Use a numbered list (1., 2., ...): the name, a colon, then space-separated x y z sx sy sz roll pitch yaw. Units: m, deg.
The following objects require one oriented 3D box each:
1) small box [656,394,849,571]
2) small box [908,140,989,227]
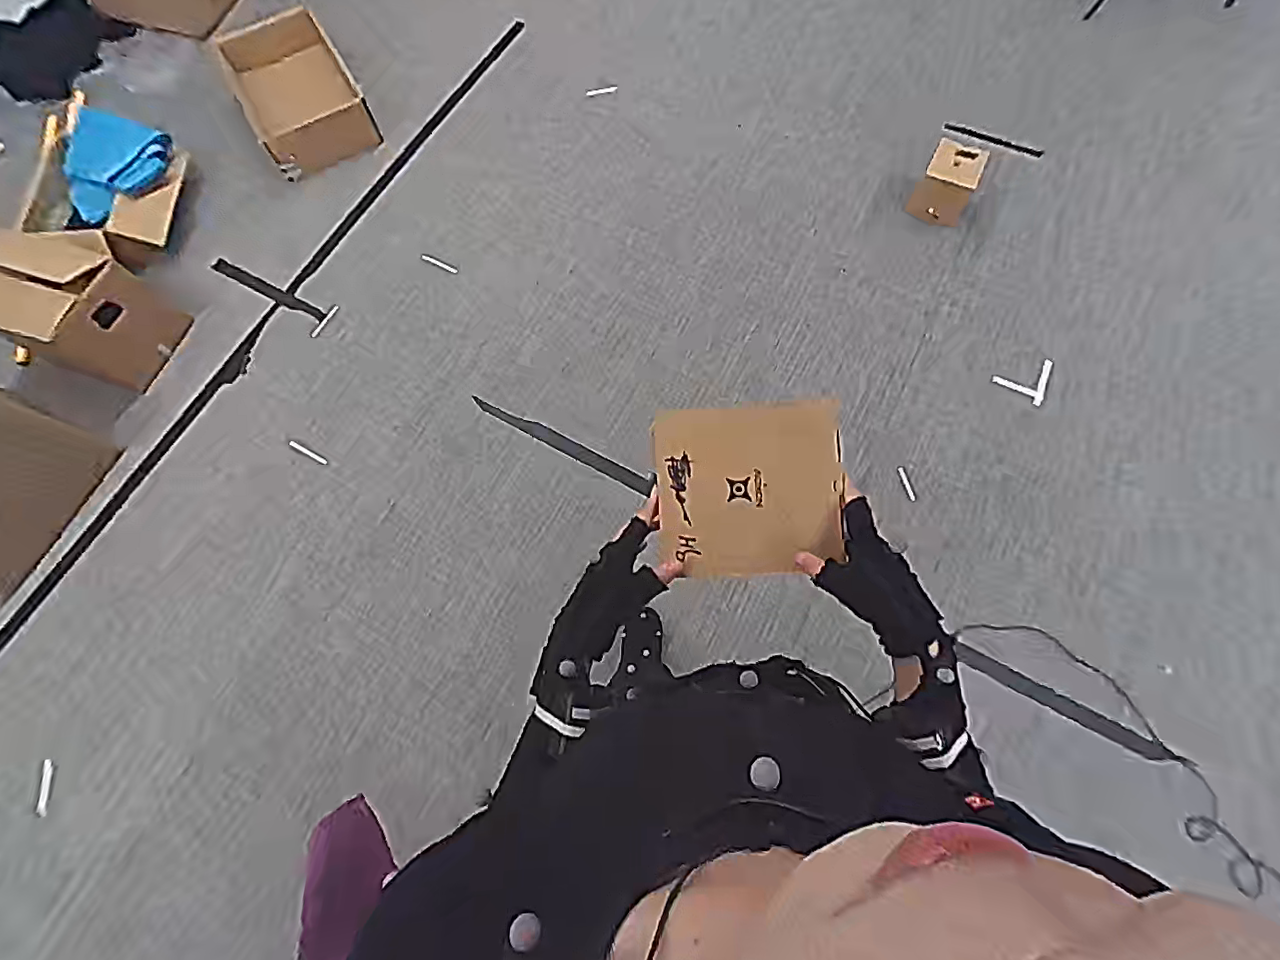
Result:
1. small box: 0.113 0.004 0.587 0.179 0.176 0.168 -3 89 7
2. small box: 1.065 -1.029 1.881 0.168 0.176 0.179 25 75 11
